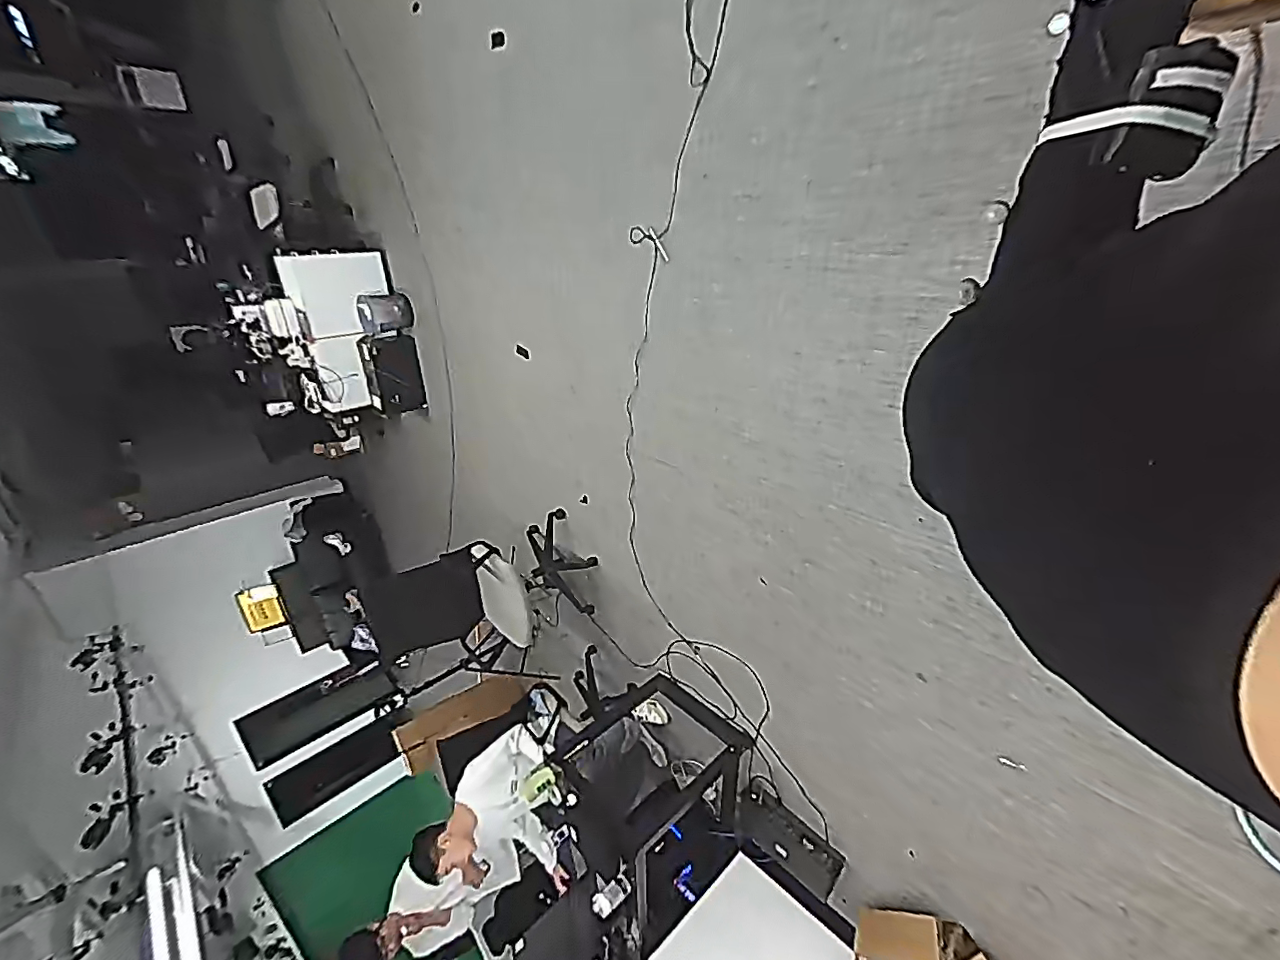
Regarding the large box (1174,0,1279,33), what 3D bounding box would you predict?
[{"bbox_3d":[0.568,-0.466,0.247,0.408,0.320,0.320,17,130,42],"label":"large box"}]
